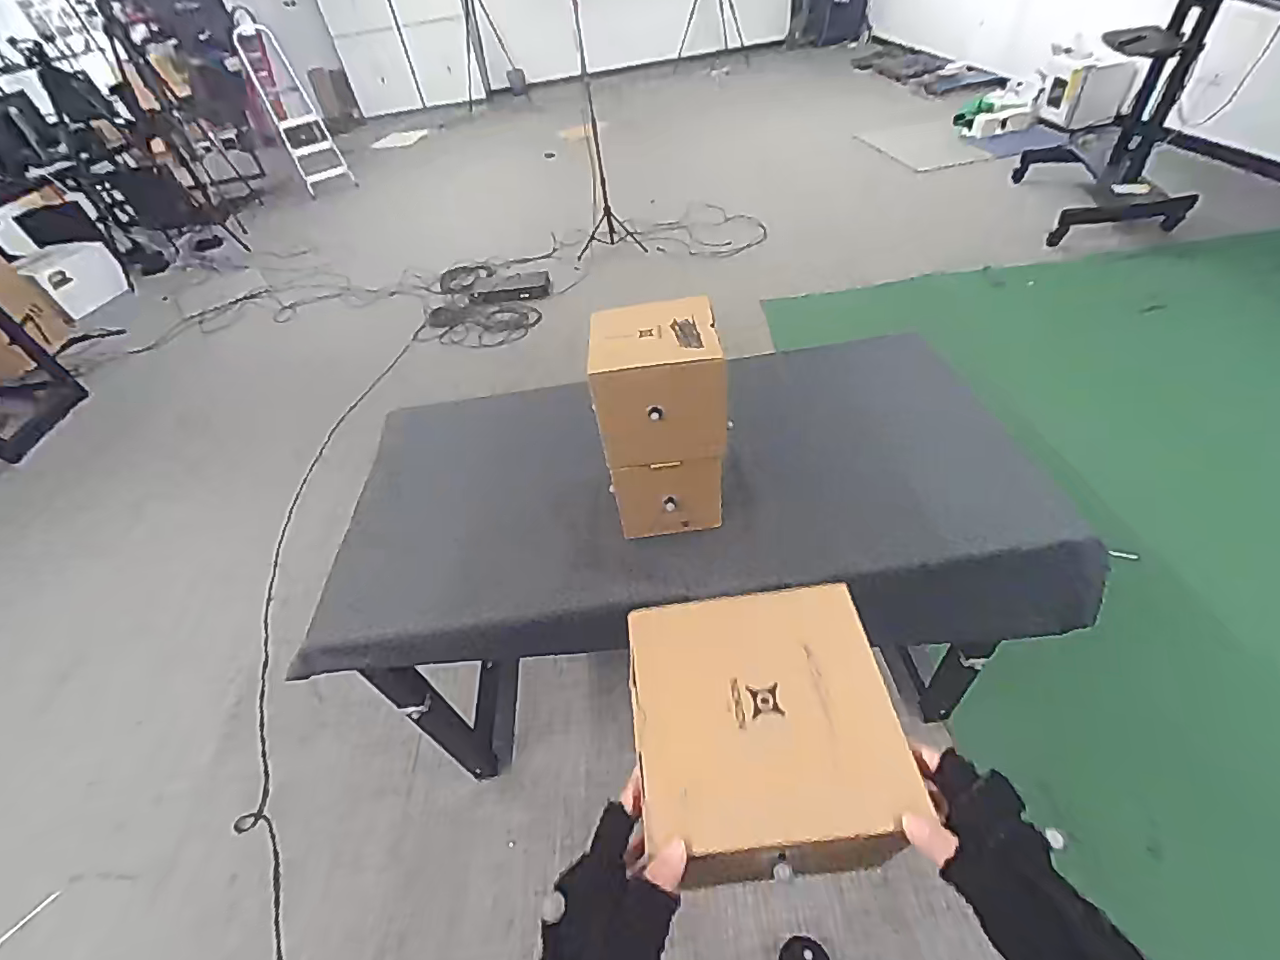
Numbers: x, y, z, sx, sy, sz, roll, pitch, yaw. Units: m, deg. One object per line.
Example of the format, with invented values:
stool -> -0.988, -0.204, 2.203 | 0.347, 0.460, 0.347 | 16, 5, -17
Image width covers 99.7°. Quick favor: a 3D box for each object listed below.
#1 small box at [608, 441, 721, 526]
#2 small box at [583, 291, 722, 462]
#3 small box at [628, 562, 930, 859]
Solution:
small box -> 0.040, -0.038, 0.908 | 0.168, 0.176, 0.179 | -9, 46, 2
small box -> 0.024, -0.147, 0.785 | 0.179, 0.176, 0.168 | -8, 45, 5
small box -> 0.094, 0.191, 0.439 | 0.179, 0.176, 0.168 | -9, 49, 1
